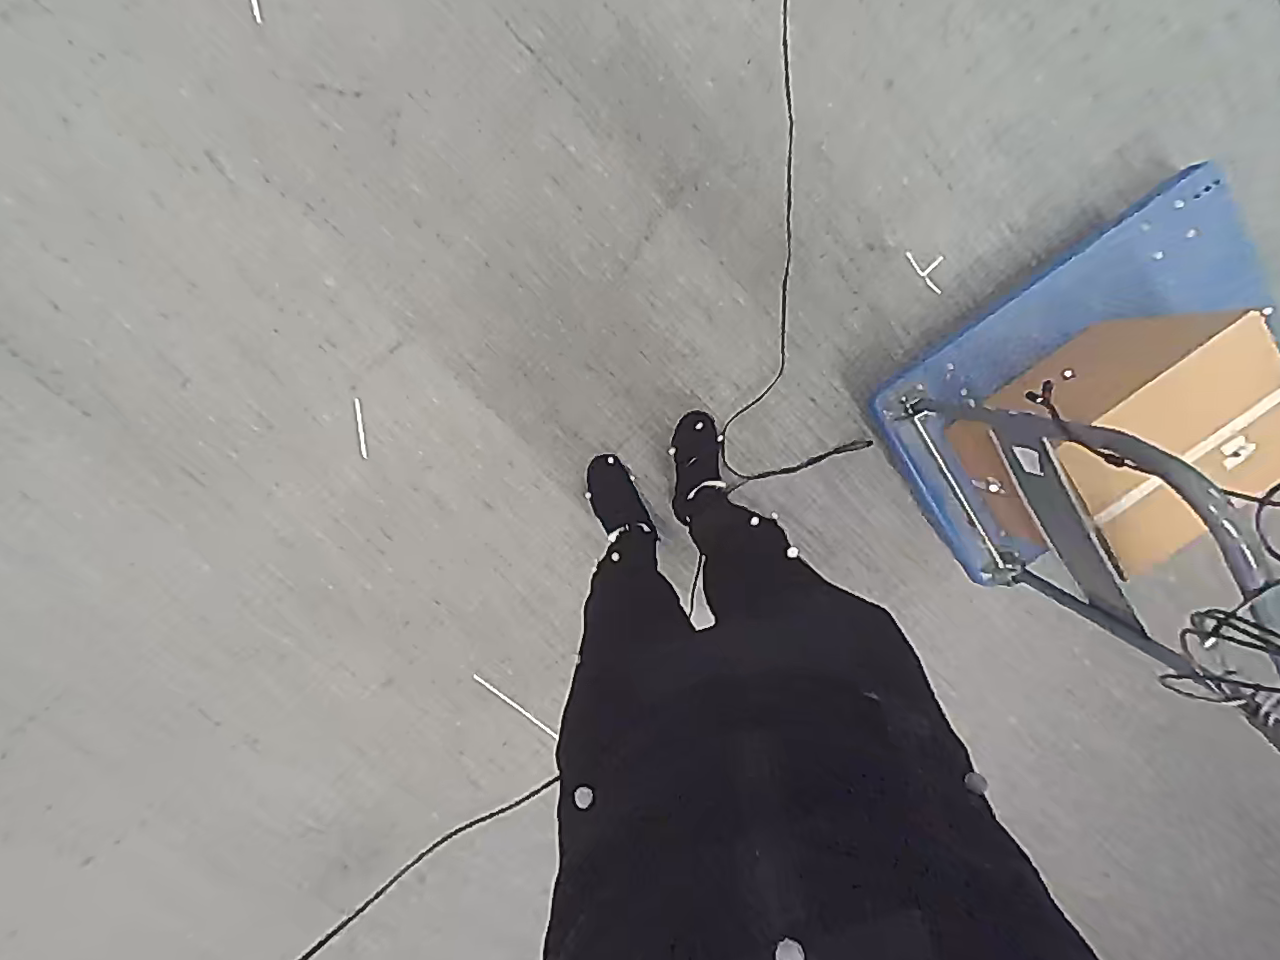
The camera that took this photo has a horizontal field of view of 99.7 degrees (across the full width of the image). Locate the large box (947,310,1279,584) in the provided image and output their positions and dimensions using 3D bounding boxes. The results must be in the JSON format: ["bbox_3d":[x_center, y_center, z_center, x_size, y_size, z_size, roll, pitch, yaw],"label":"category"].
[{"bbox_3d":[0.937,-0.072,1.081,0.408,0.320,0.320,-37,102,3],"label":"large box"}]
